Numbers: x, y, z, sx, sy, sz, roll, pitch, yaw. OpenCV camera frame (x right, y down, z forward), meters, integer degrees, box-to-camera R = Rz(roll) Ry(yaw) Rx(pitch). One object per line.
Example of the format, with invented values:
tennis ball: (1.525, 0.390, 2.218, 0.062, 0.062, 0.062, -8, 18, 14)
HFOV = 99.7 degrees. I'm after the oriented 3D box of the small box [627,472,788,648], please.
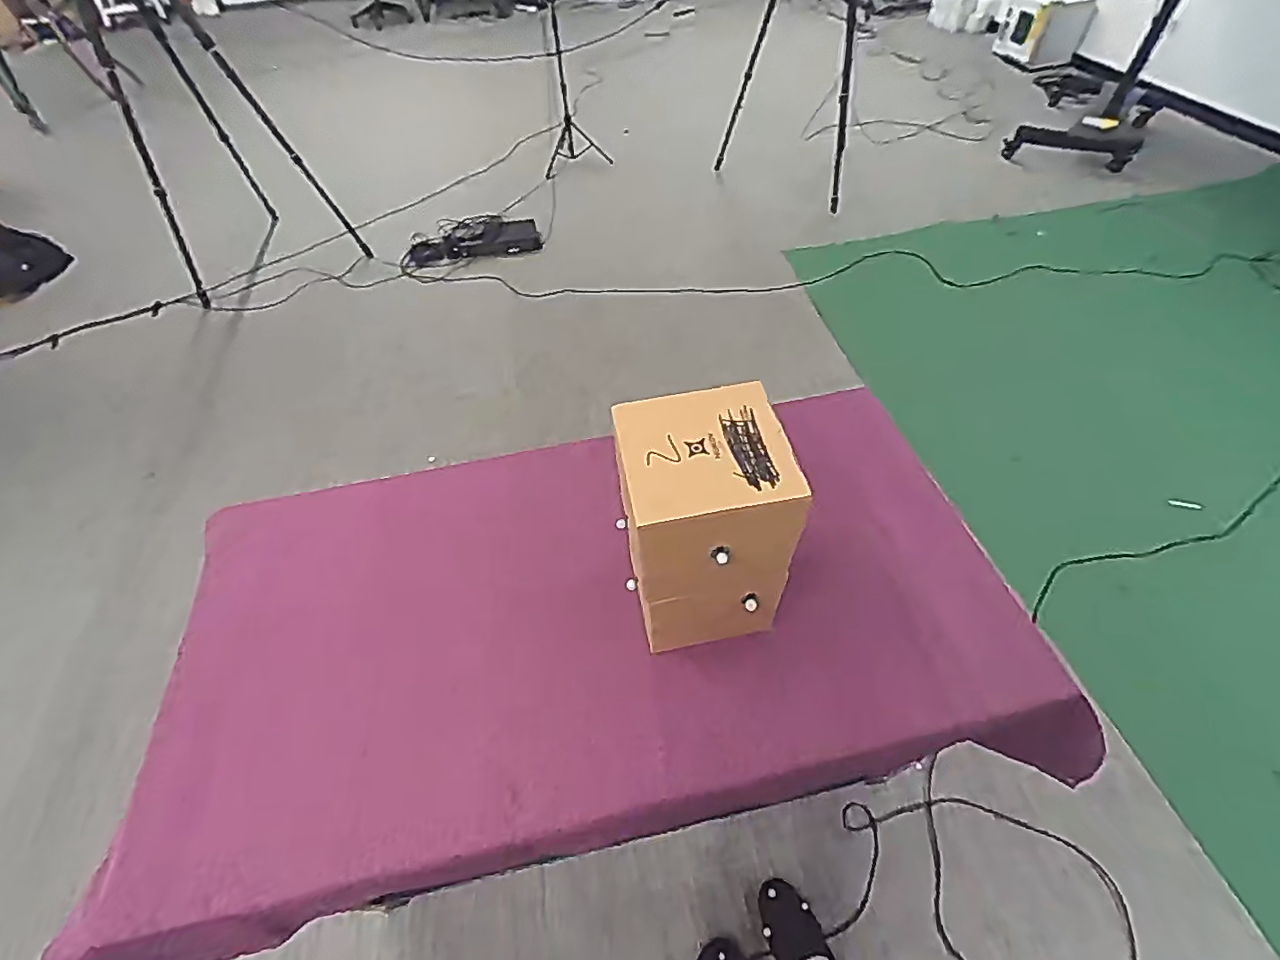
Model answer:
small box: (0.083, 0.115, 0.754, 0.179, 0.176, 0.168, -11, 52, -4)
